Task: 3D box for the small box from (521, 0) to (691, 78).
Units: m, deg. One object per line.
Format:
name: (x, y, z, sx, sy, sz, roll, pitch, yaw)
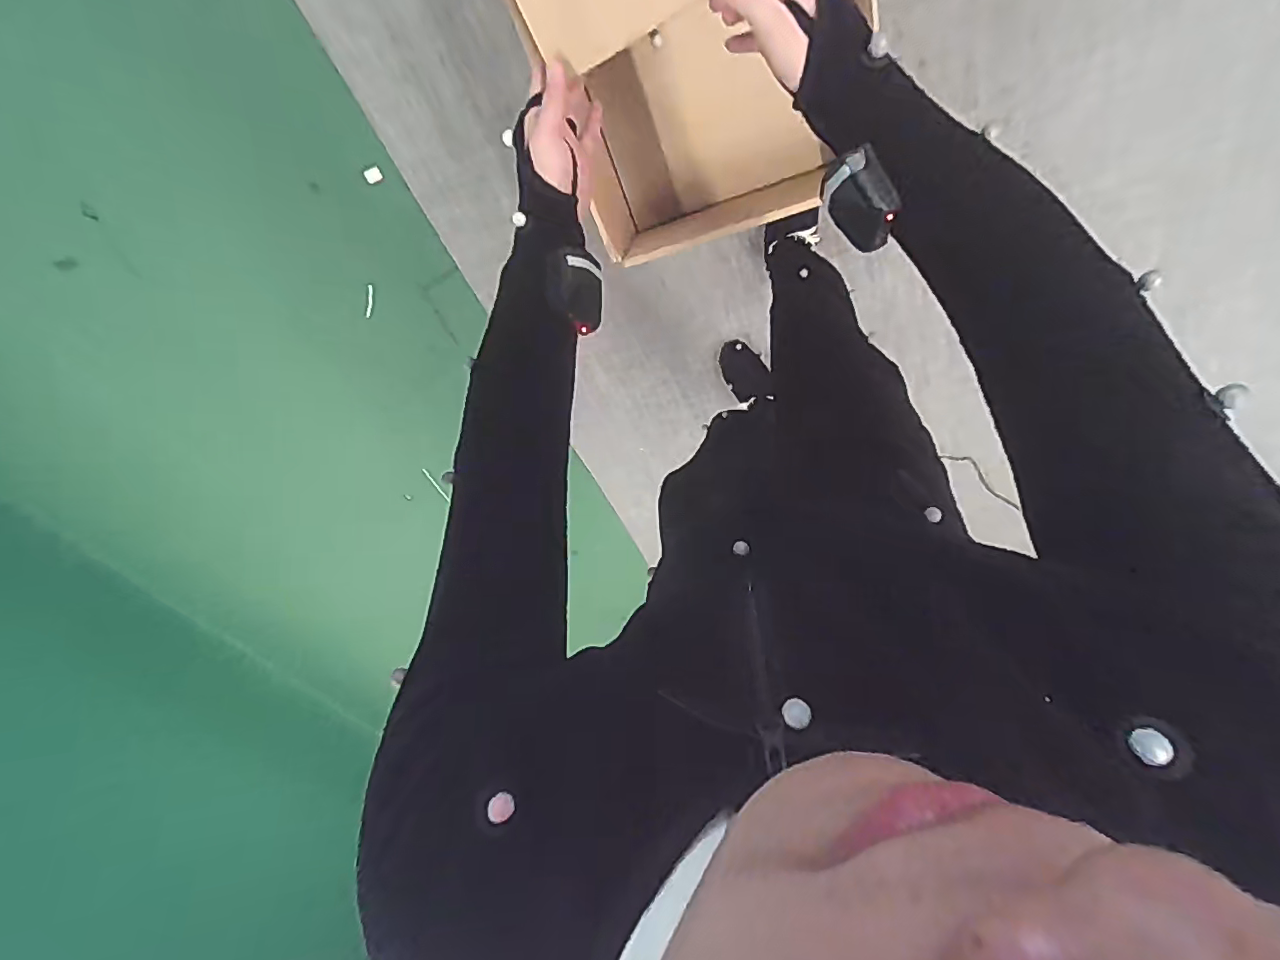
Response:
small box: (-0.014, -0.473, 0.434, 0.179, 0.176, 0.168, -10, 132, 28)
